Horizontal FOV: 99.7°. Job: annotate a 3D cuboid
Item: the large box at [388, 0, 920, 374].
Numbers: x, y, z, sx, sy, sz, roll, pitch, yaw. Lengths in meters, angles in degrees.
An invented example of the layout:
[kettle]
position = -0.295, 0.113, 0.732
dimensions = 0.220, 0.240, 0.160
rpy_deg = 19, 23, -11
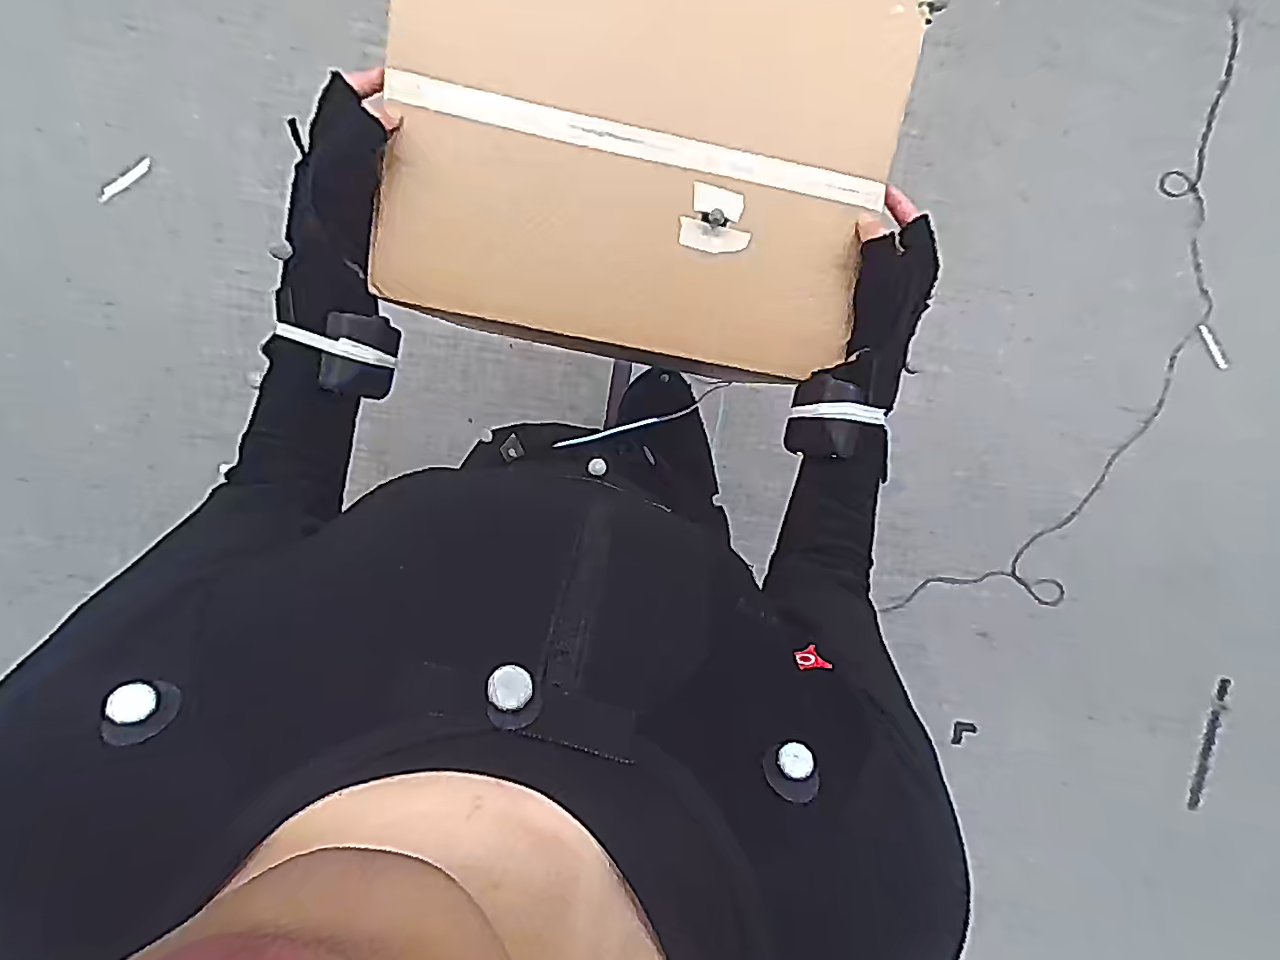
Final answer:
[large box]
position = -0.004, -0.303, 0.589
dimensions = 0.408, 0.320, 0.320
rpy_deg = 10, 101, -7
